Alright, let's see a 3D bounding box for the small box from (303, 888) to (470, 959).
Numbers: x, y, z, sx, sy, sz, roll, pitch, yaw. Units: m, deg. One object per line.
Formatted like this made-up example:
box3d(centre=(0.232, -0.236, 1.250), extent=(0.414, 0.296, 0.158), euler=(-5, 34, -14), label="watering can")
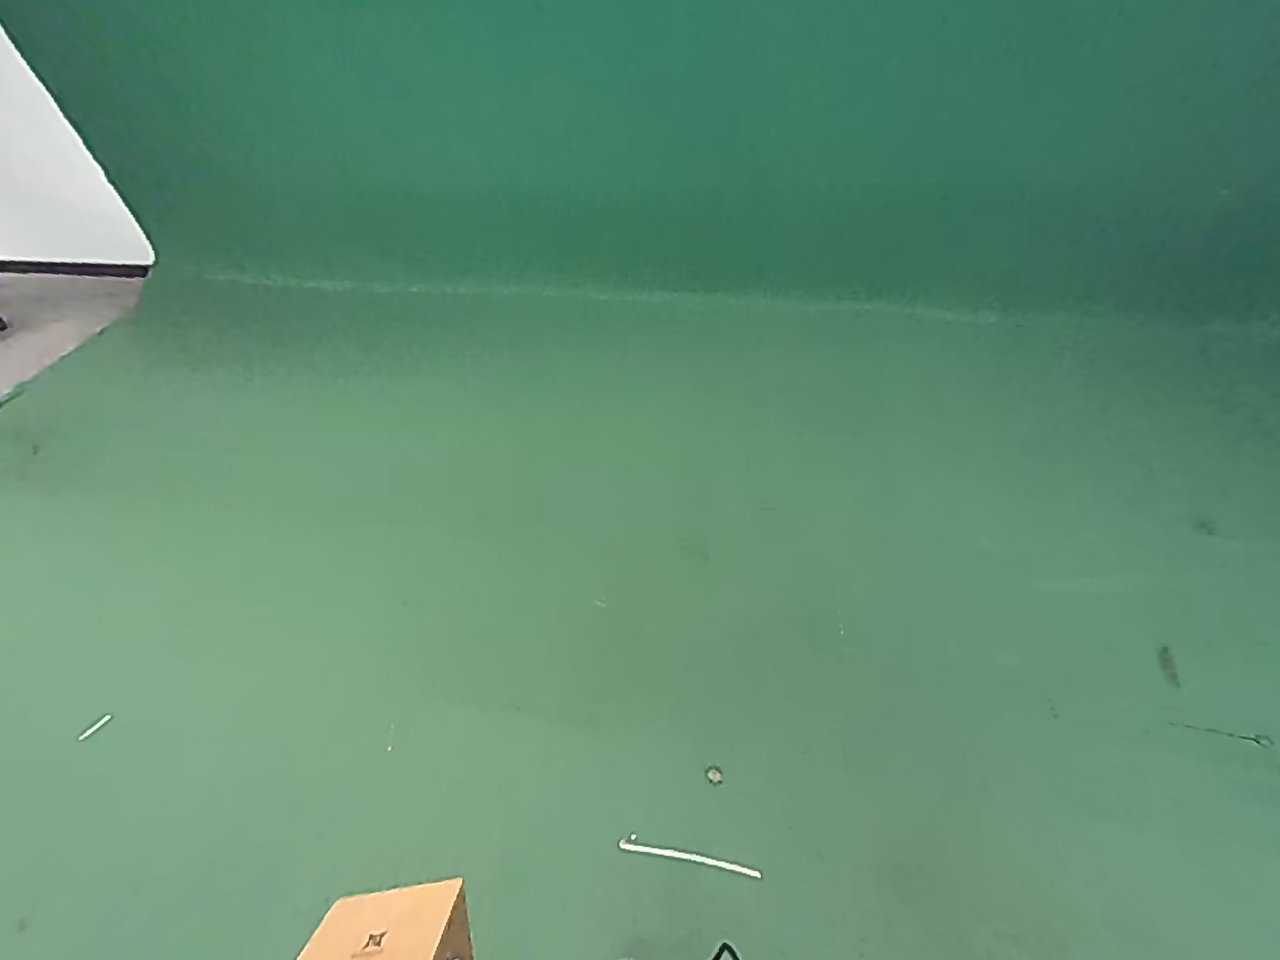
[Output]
box3d(centre=(-0.298, 0.626, 0.623), extent=(0.168, 0.179, 0.176), euler=(-7, 89, -3), label="small box")
